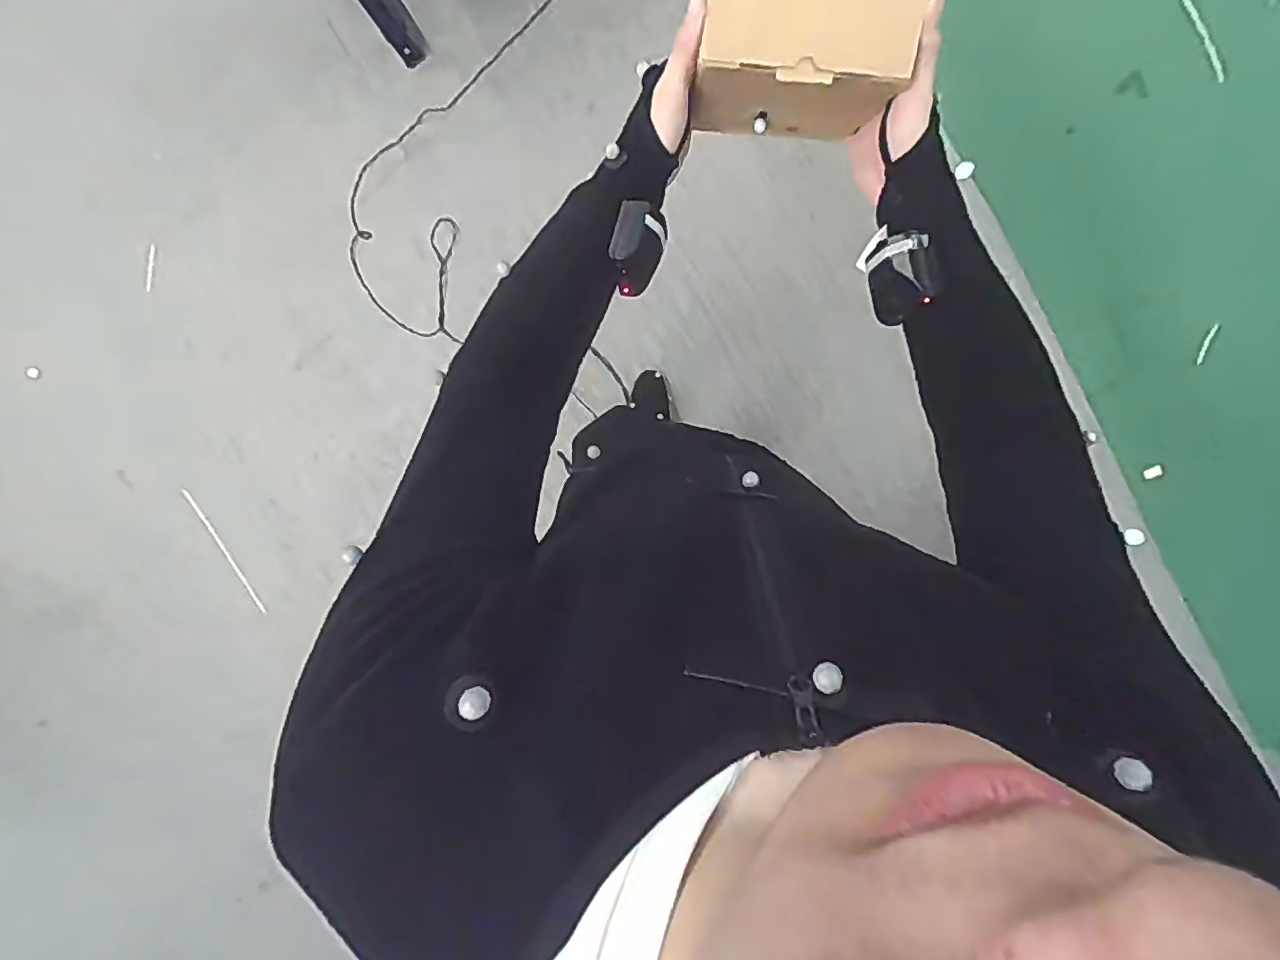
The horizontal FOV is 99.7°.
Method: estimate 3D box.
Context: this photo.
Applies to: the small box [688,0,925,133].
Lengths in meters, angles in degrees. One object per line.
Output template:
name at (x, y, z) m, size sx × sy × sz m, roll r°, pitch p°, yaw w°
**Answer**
small box at (0.133, -0.425, 0.461) m, size 0.168 × 0.176 × 0.179 m, roll 4°, pitch 110°, yaw 0°
